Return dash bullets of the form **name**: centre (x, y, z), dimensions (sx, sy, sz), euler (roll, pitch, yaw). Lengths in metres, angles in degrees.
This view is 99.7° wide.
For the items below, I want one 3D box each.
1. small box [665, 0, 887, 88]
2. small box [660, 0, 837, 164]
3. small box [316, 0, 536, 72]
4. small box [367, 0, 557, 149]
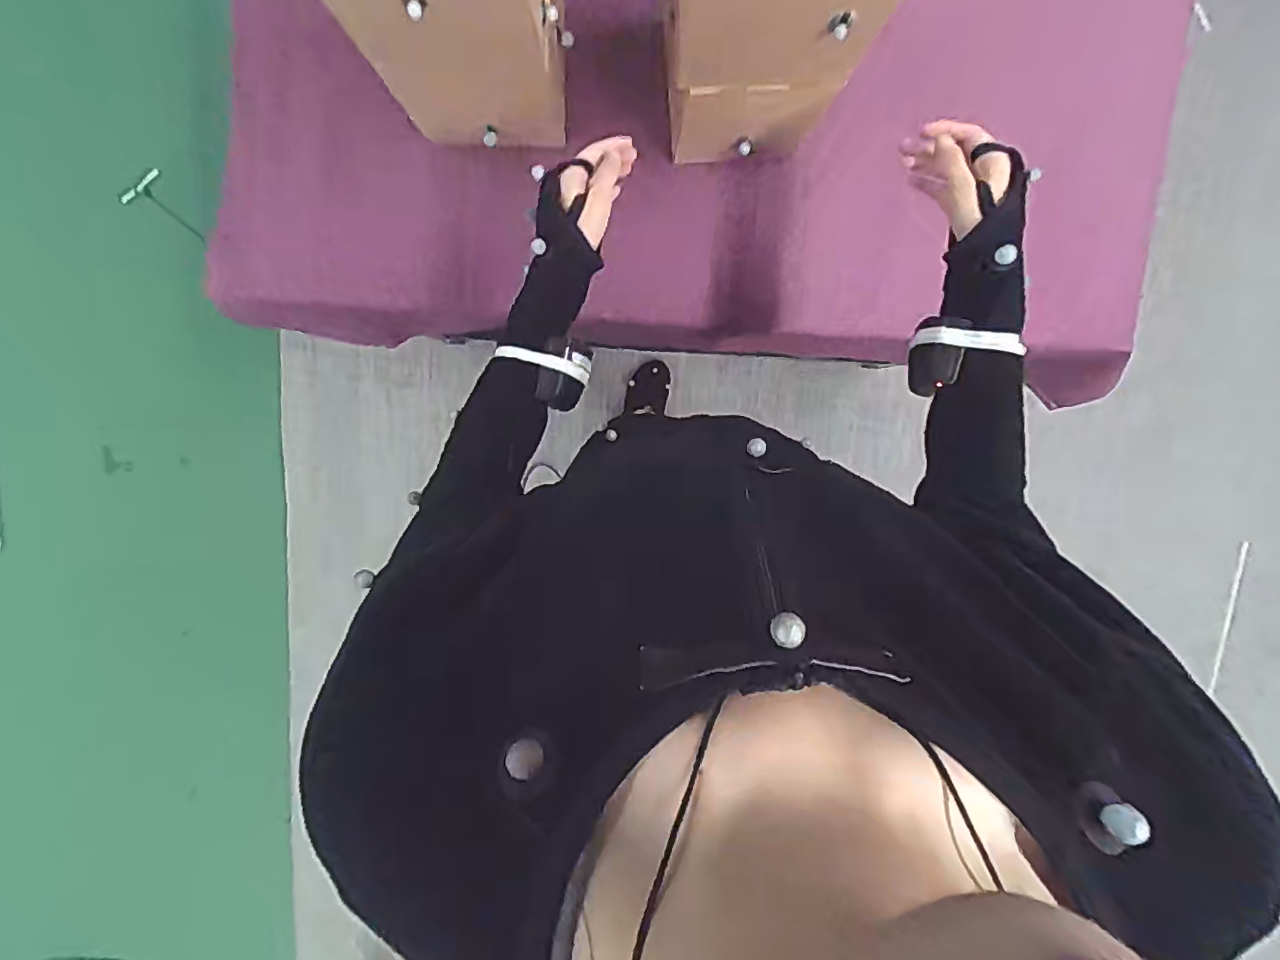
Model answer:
- **small box**: centre (0.113, -0.465, 0.456), dimensions (0.179, 0.176, 0.168), euler (-2, 98, 0)
- **small box**: centre (0.113, -0.493, 0.617), dimensions (0.168, 0.176, 0.179), euler (-4, 99, 0)
- **small box**: centre (-0.182, -0.473, 0.445), dimensions (0.179, 0.176, 0.168), euler (1, 99, -1)
- **small box**: centre (-0.187, -0.498, 0.608), dimensions (0.179, 0.176, 0.168), euler (1, 98, -3)
